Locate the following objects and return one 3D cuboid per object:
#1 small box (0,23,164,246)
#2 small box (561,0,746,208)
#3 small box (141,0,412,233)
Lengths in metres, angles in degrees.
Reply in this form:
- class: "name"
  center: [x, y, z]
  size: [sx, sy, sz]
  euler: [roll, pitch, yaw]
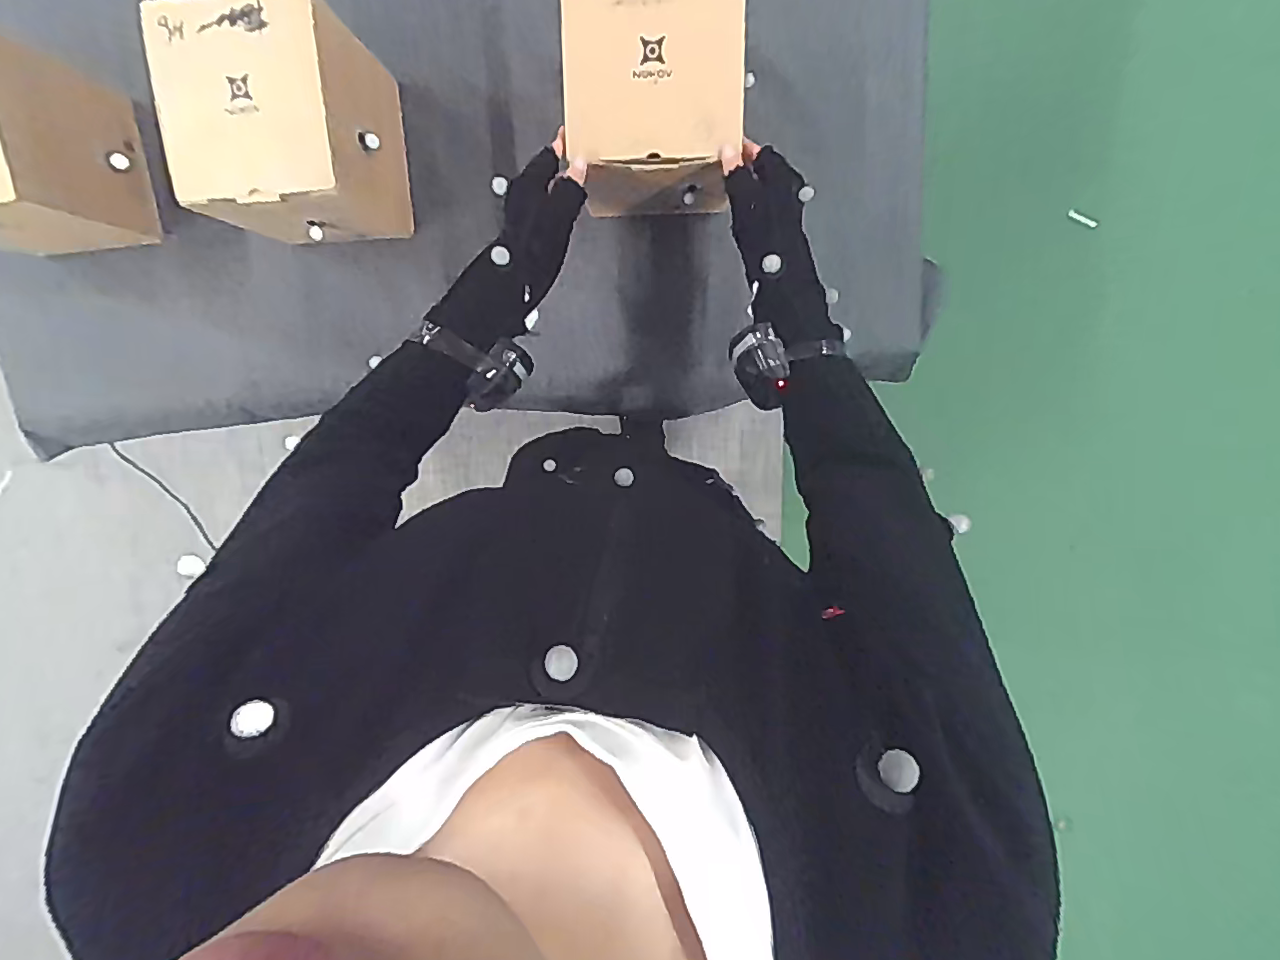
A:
- class: "small box"
  center: [-0.697, -0.368, 0.599]
  size: [0.179, 0.176, 0.168]
  euler: [-5, 101, 3]
- class: "small box"
  center: [0.016, -0.395, 0.562]
  size: [0.168, 0.176, 0.179]
  euler: [-1, 100, 2]
- class: "small box"
  center: [-0.366, -0.375, 0.583]
  size: [0.168, 0.176, 0.179]
  euler: [-2, 101, 3]
